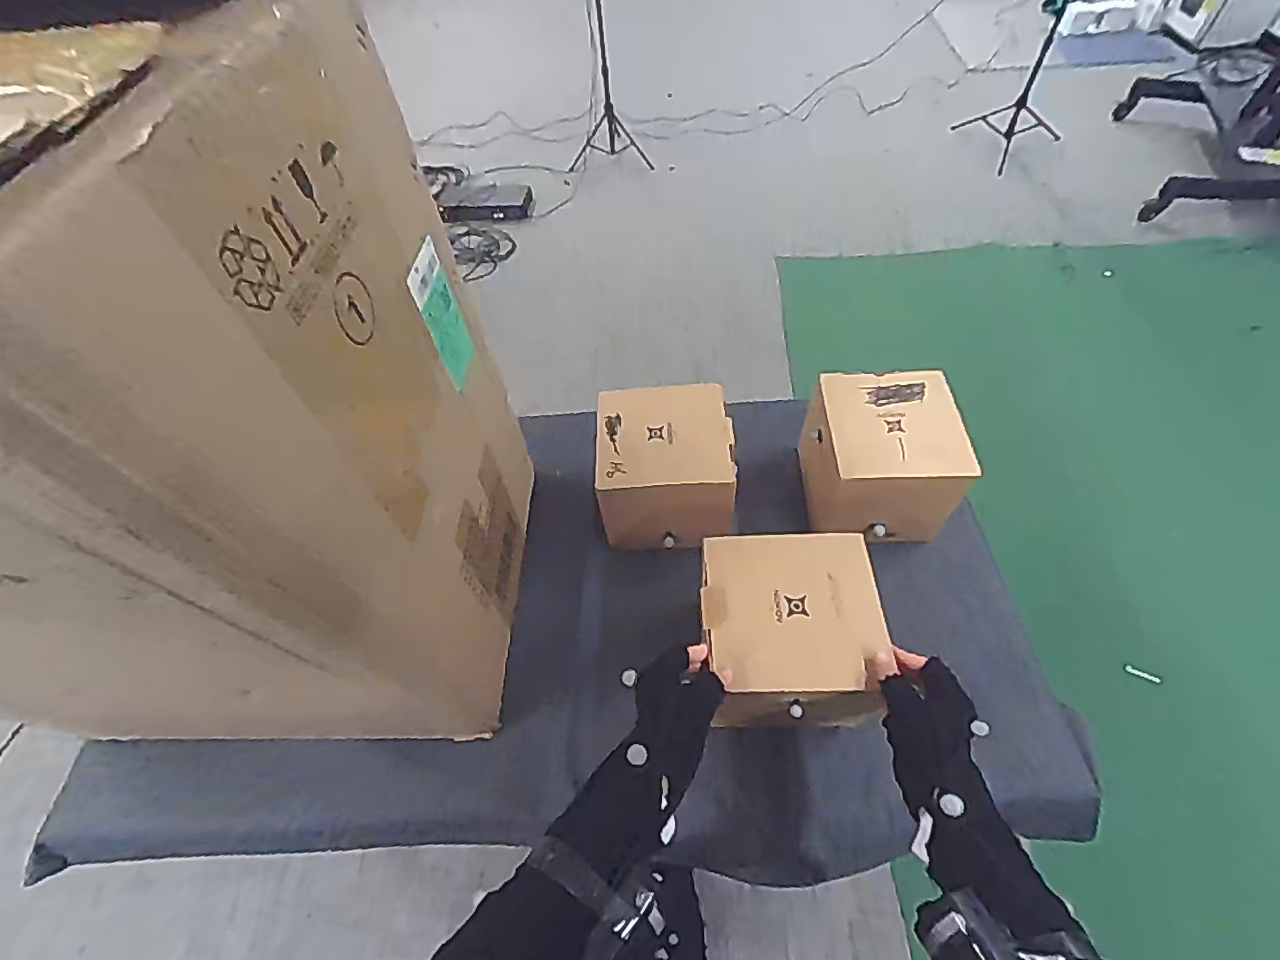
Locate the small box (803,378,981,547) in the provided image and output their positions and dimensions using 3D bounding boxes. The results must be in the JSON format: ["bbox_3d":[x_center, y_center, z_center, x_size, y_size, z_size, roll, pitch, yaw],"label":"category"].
[{"bbox_3d":[0.335,-0.023,0.763,0.168,0.176,0.179,-1,56,5],"label":"small box"}]
